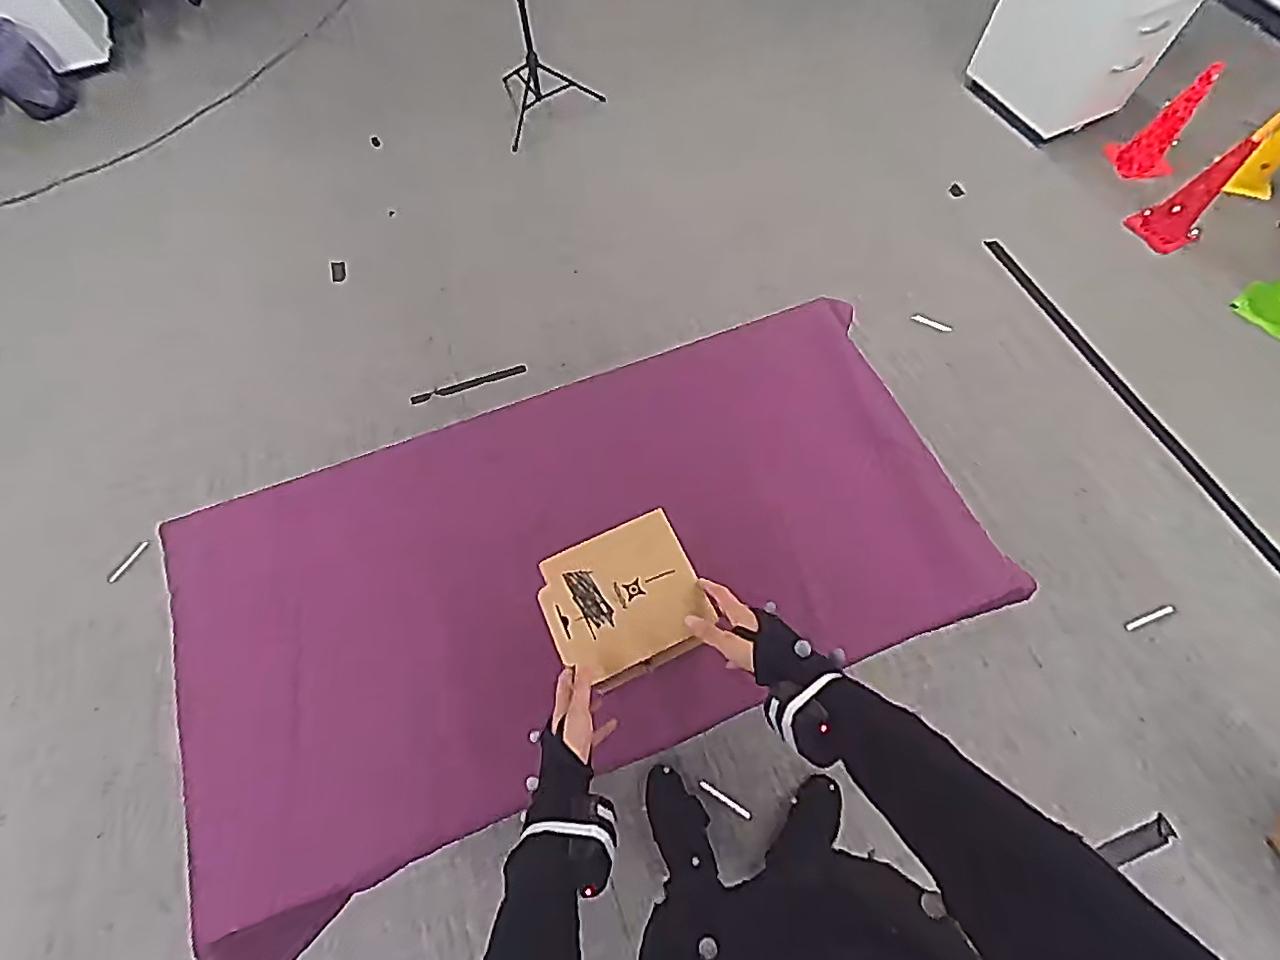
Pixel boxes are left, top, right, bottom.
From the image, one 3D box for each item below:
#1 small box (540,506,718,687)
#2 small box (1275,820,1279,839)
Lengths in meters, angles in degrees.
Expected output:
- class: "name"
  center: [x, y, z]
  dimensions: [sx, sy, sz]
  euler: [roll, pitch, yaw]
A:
- class: "small box"
  center: [-0.013, 0.166, 0.735]
  dimensions: [0.179, 0.176, 0.168]
  euler: [-24, 68, -9]
- class: "small box"
  center: [1.592, 0.826, 1.190]
  dimensions: [0.179, 0.176, 0.168]
  euler: [-24, 68, -9]
